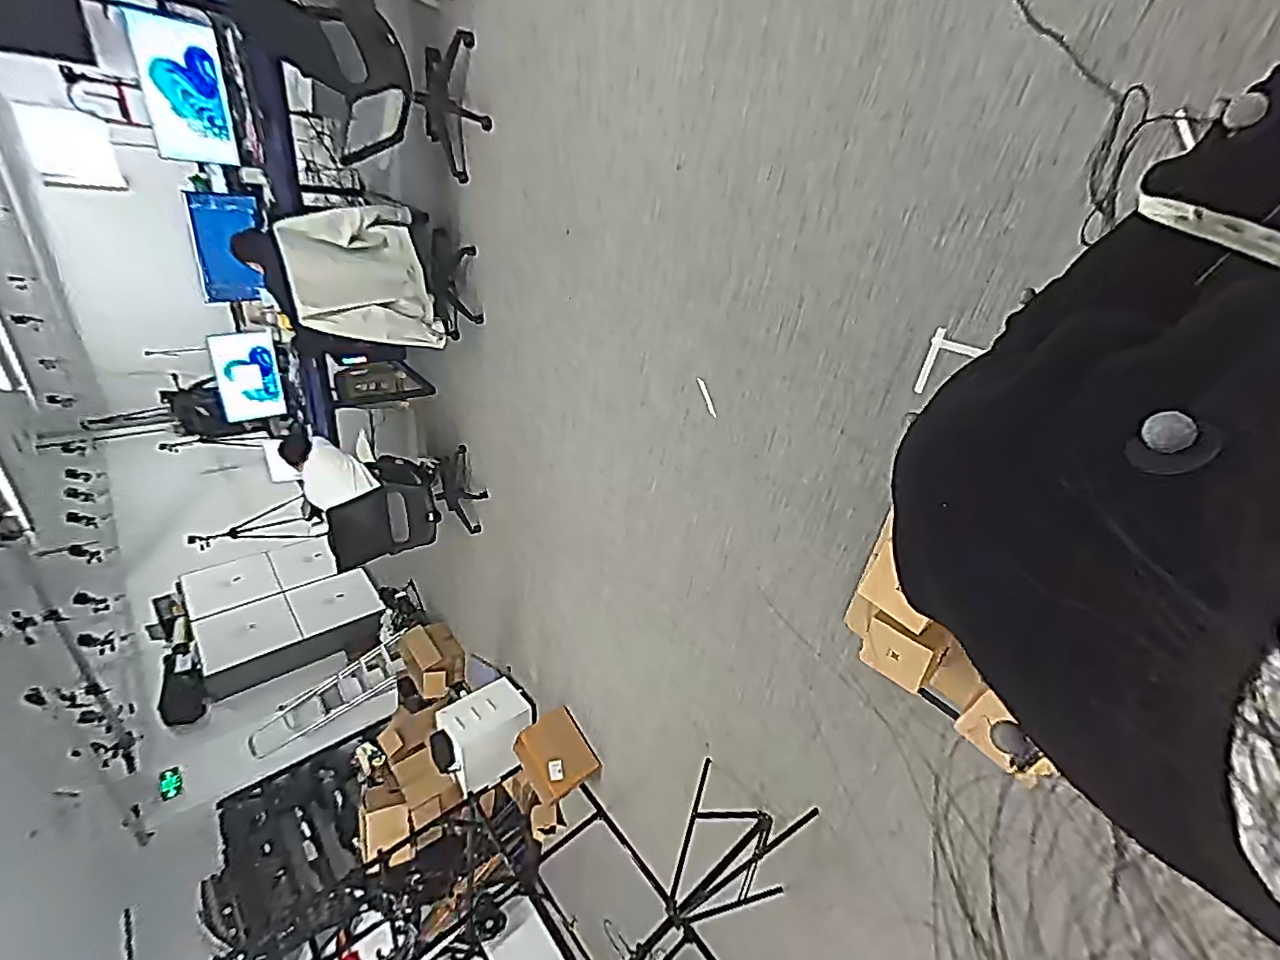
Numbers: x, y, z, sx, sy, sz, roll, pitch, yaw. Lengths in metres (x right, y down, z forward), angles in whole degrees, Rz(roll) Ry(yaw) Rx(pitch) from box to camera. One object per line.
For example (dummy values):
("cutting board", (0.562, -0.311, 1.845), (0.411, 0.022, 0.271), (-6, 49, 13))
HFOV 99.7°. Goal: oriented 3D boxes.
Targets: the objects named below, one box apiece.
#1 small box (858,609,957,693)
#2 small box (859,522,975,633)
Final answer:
("small box", (0.770, 0.467, 1.560), (0.179, 0.176, 0.168), (31, 127, 40))
("small box", (0.676, 0.230, 1.318), (0.168, 0.176, 0.179), (38, 129, 34))
